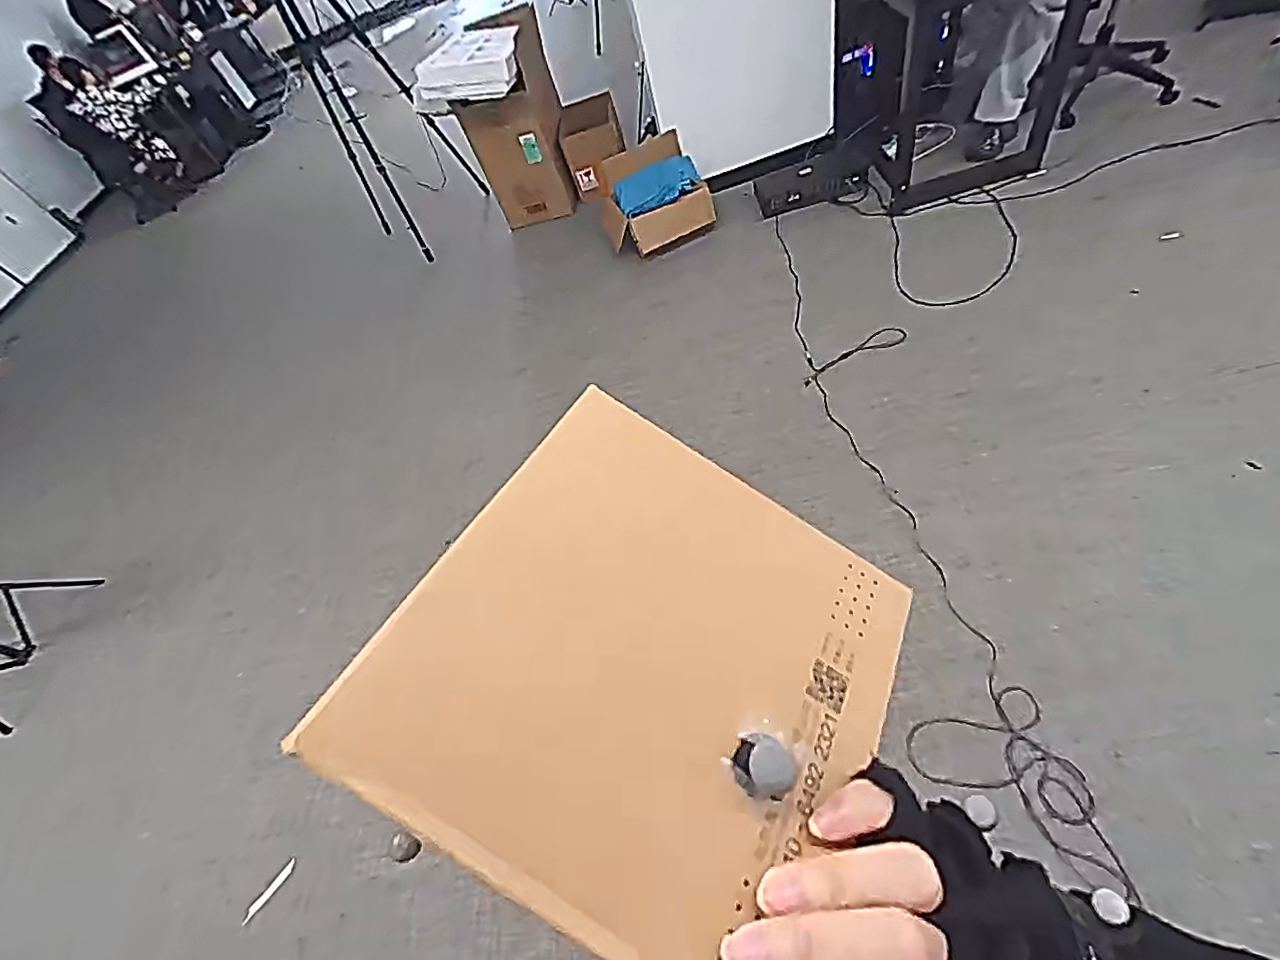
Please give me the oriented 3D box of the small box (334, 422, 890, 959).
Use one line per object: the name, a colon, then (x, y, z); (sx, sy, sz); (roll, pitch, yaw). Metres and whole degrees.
small box: (-0.011, 0.111, 0.276); (0.176, 0.179, 0.168); (32, 55, 1)
